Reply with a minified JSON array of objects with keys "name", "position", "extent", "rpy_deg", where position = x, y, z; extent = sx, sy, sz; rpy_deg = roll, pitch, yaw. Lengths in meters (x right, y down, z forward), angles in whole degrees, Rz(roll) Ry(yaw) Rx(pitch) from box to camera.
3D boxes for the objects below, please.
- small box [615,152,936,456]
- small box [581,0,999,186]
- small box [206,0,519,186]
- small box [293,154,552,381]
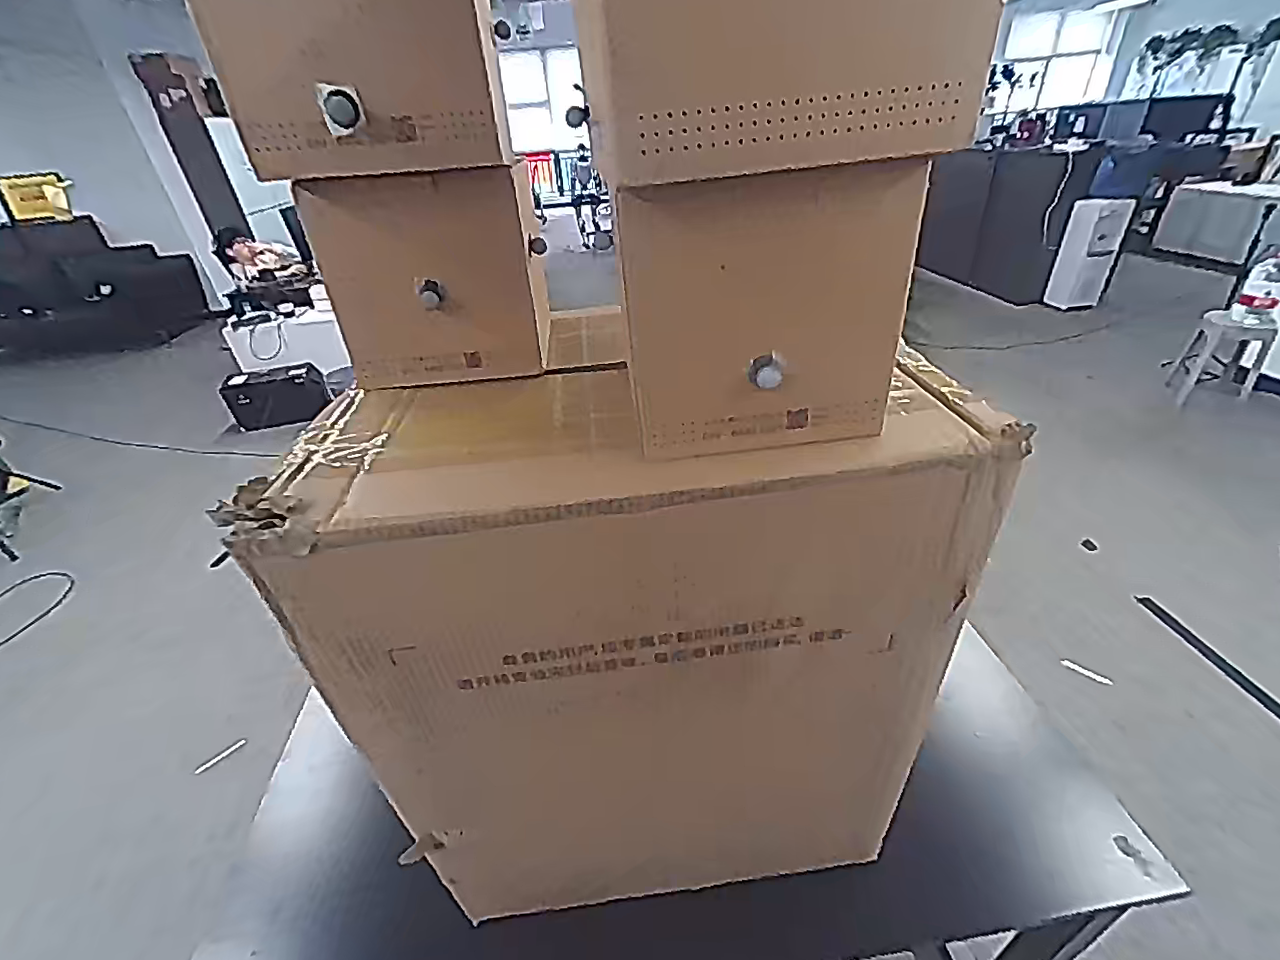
[{"name":"small box","position":[0.072,-0.135,0.388],"extent":[0.168,0.176,0.179],"rpy_deg":[-7,34,-1]},{"name":"small box","position":[0.060,-0.254,0.271],"extent":[0.179,0.176,0.168],"rpy_deg":[-8,34,-5]},{"name":"small box","position":[-0.187,-0.317,0.392],"extent":[0.168,0.176,0.179],"rpy_deg":[-9,34,-5]},{"name":"small box","position":[-0.177,-0.199,0.510],"extent":[0.168,0.176,0.179],"rpy_deg":[-6,34,-4]}]
